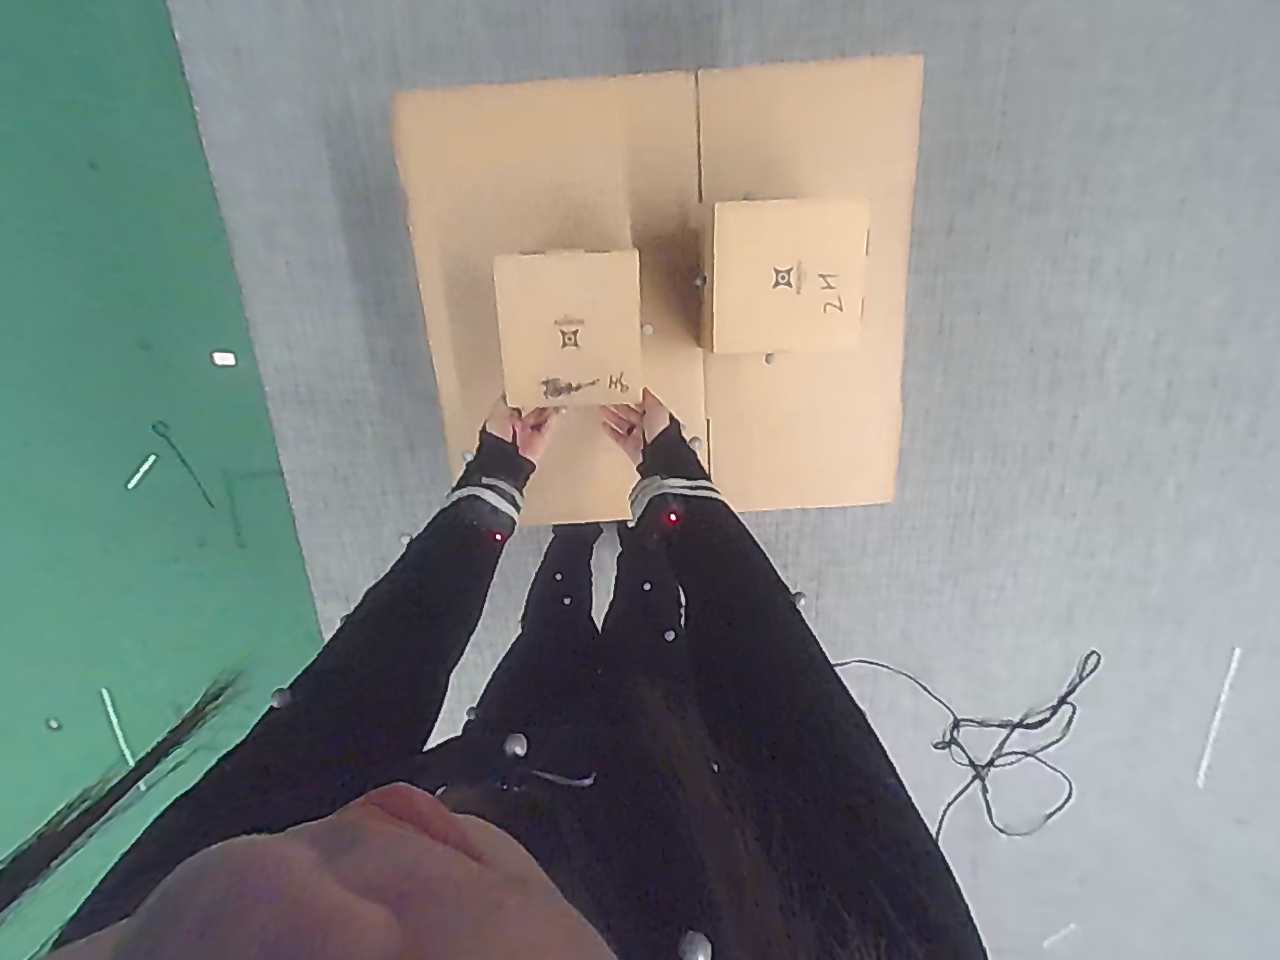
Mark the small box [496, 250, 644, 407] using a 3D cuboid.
[{"bbox_3d":[-0.079,-0.190,0.702,0.168,0.176,0.179,-1,104,2],"label":"small box"}]

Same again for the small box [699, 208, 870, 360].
[{"bbox_3d":[0.169,-0.241,0.691,0.179,0.176,0.168,-1,106,1],"label":"small box"}]
